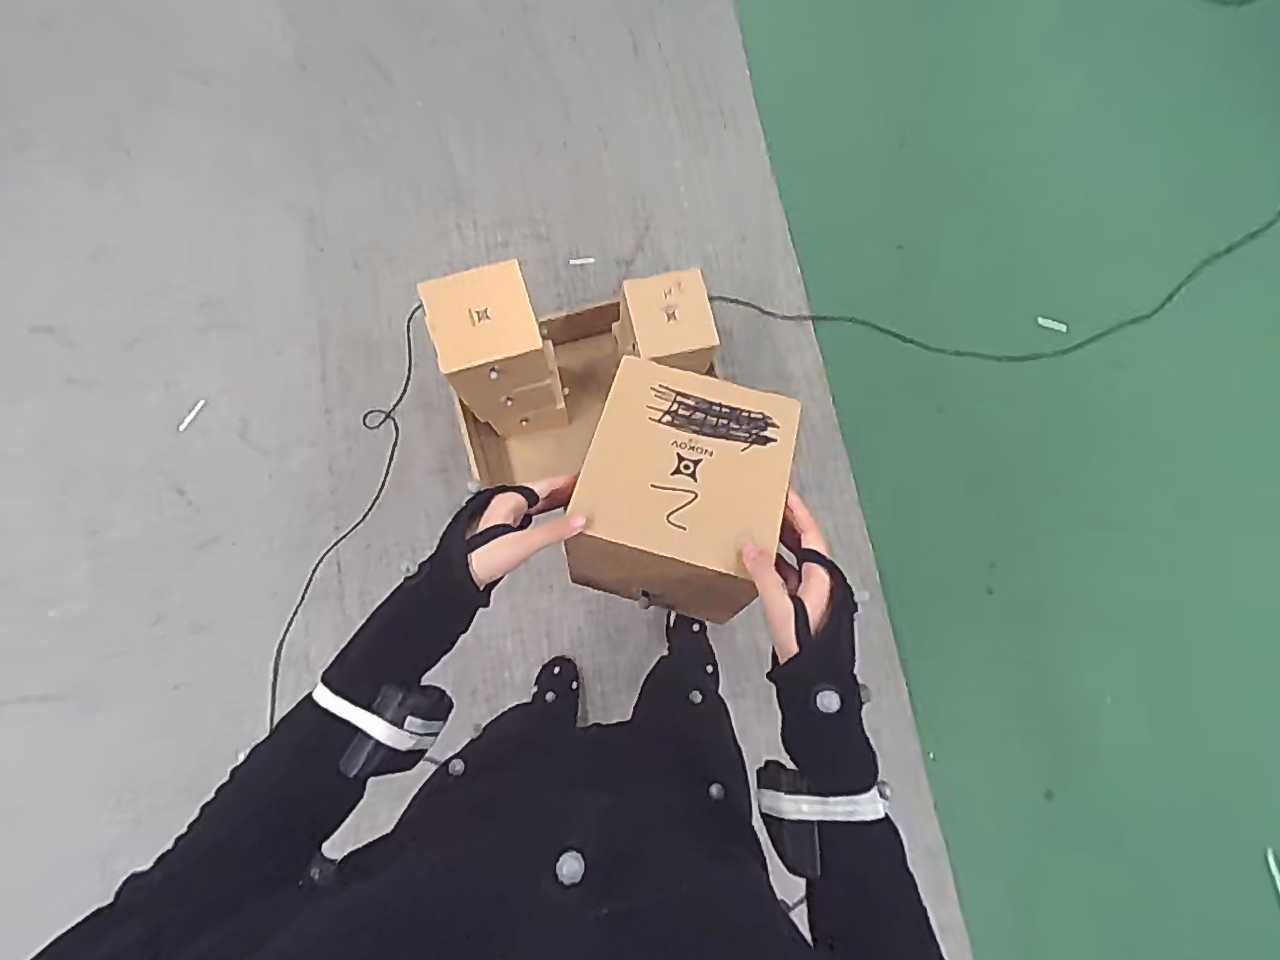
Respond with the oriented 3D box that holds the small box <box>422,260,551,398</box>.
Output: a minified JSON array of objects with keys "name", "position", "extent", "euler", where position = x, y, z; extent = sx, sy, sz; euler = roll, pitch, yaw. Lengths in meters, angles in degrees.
[{"name":"small box","position":[-0.265,-0.264,0.977],"extent":[0.179,0.176,0.168],"euler":[-16,83,-6]}]

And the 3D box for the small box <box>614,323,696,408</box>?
[{"name":"small box","position":[0.037,-0.287,1.332],"extent":[0.179,0.176,0.168],"euler":[-11,81,-5]}]

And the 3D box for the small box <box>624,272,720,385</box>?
[{"name":"small box","position":[0.062,-0.318,1.171],"extent":[0.168,0.176,0.179],"euler":[-11,80,-7]}]

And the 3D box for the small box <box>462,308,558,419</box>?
[{"name":"small box","position":[-0.276,-0.237,1.137],"extent":[0.179,0.176,0.168],"euler":[-11,82,-7]}]
